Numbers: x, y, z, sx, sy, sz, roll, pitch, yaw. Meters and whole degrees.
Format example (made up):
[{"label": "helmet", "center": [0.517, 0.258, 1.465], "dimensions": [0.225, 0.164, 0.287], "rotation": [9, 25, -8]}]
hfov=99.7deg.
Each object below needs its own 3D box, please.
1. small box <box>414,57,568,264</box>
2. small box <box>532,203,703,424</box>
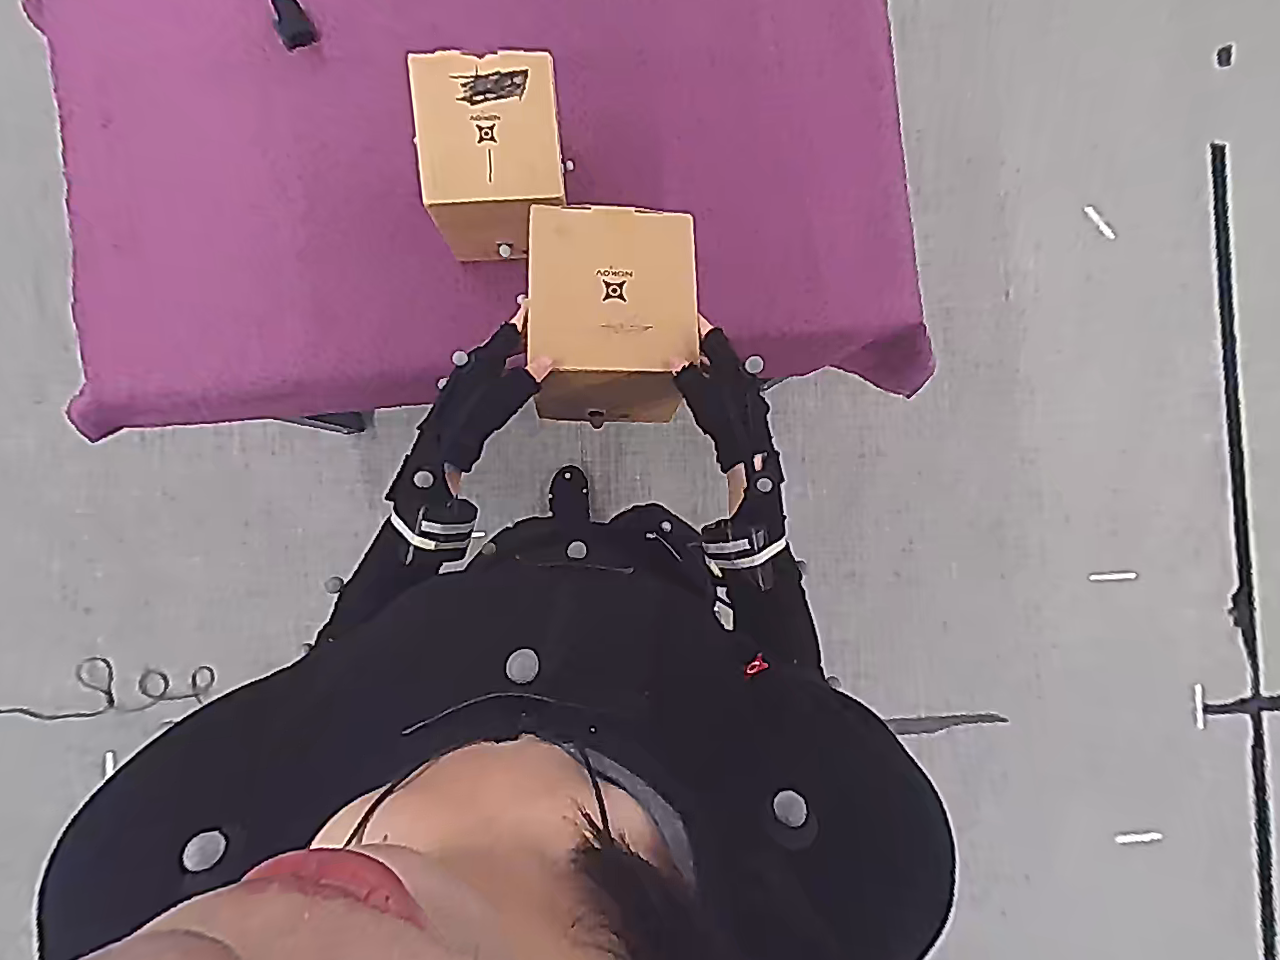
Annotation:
[{"label": "small box", "center": [-0.183, -0.409, 0.714], "dimensions": [0.168, 0.176, 0.179], "rotation": [-5, 90, -5]}, {"label": "small box", "center": [-0.031, -0.172, 0.602], "dimensions": [0.168, 0.176, 0.179], "rotation": [0, 79, -7]}]
